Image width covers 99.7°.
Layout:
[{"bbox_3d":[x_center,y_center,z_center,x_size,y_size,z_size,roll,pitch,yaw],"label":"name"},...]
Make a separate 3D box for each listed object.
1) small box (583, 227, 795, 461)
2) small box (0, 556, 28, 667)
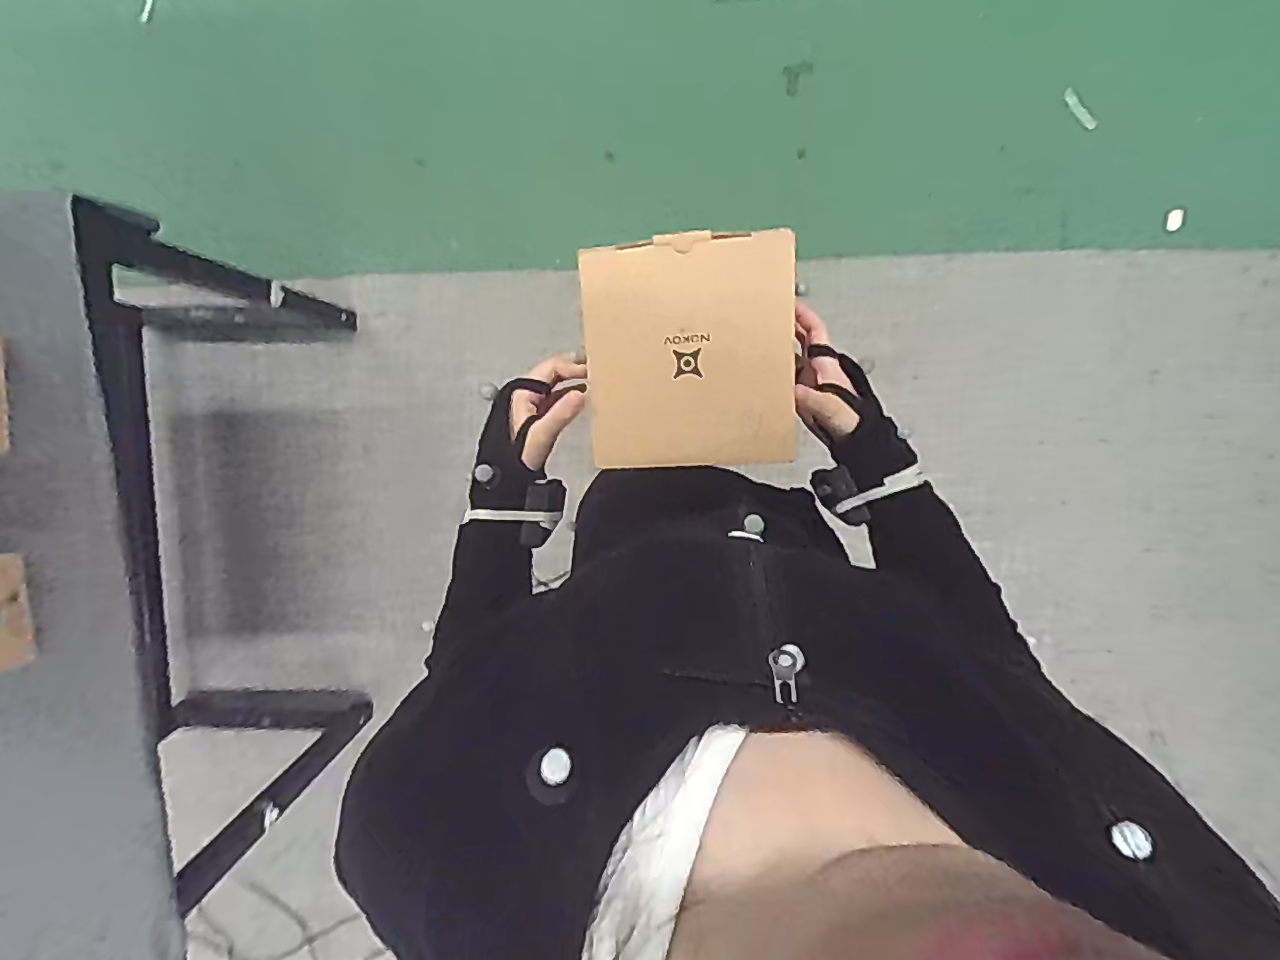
[{"bbox_3d":[0.050,-0.117,0.505,0.168,0.176,0.179,-1,100,9],"label":"small box"},{"bbox_3d":[-1.003,0.200,0.725,0.179,0.176,0.168,-1,96,2],"label":"small box"}]
